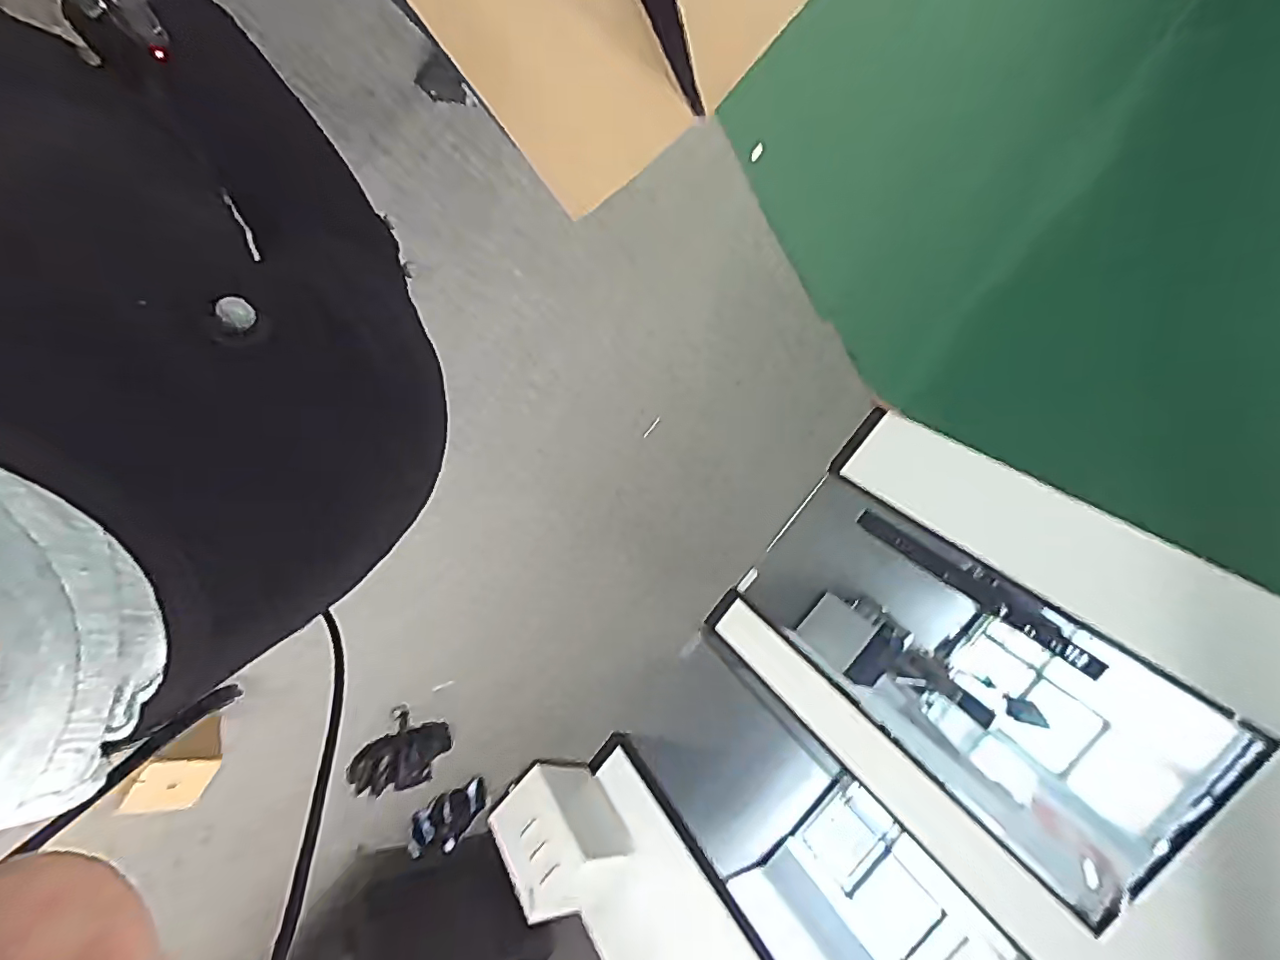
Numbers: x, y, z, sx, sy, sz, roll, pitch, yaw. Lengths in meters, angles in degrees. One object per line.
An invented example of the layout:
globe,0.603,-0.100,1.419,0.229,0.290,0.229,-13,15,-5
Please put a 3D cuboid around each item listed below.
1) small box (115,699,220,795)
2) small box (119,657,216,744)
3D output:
small box,-1.306,0.730,1.497,0.179,0.176,0.168,-52,140,8
small box,-1.400,0.646,1.601,0.179,0.176,0.168,-53,140,7
